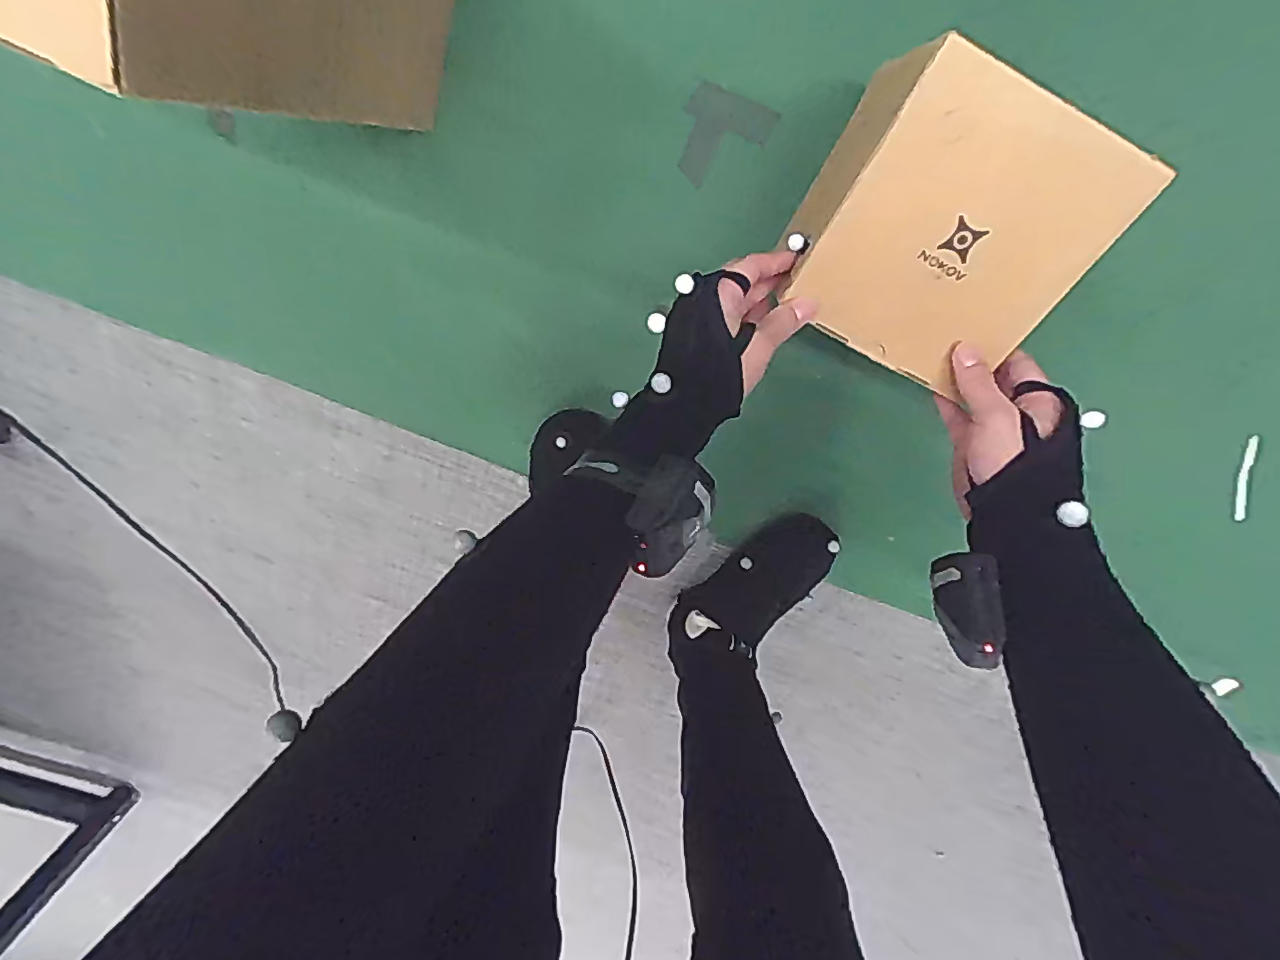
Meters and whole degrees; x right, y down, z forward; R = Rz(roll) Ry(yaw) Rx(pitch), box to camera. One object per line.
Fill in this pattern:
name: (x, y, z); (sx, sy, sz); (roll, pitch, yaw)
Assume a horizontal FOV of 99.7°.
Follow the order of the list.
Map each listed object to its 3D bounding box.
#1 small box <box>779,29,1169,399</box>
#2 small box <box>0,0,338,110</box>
small box: (0.223, -0.201, 0.426); (0.168, 0.176, 0.179); (26, 124, -7)
small box: (-0.276, -0.324, 0.276); (0.168, 0.176, 0.179); (24, 121, -6)
